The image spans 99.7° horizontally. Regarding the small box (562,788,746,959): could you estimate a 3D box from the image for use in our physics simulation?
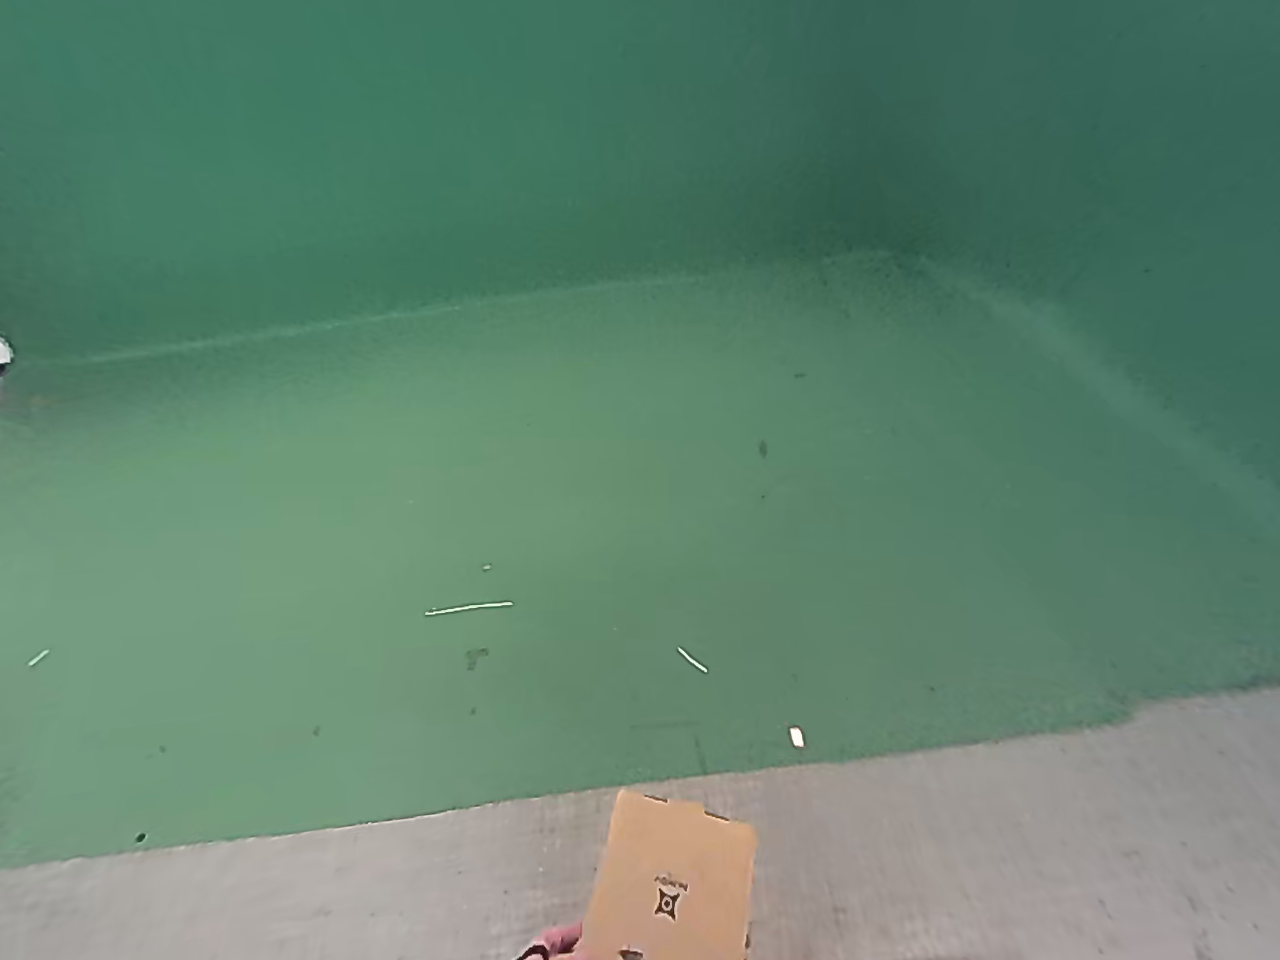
[{"bbox_3d":[0.023,0.498,0.628,0.168,0.176,0.179,9,44,12],"label":"small box"}]
